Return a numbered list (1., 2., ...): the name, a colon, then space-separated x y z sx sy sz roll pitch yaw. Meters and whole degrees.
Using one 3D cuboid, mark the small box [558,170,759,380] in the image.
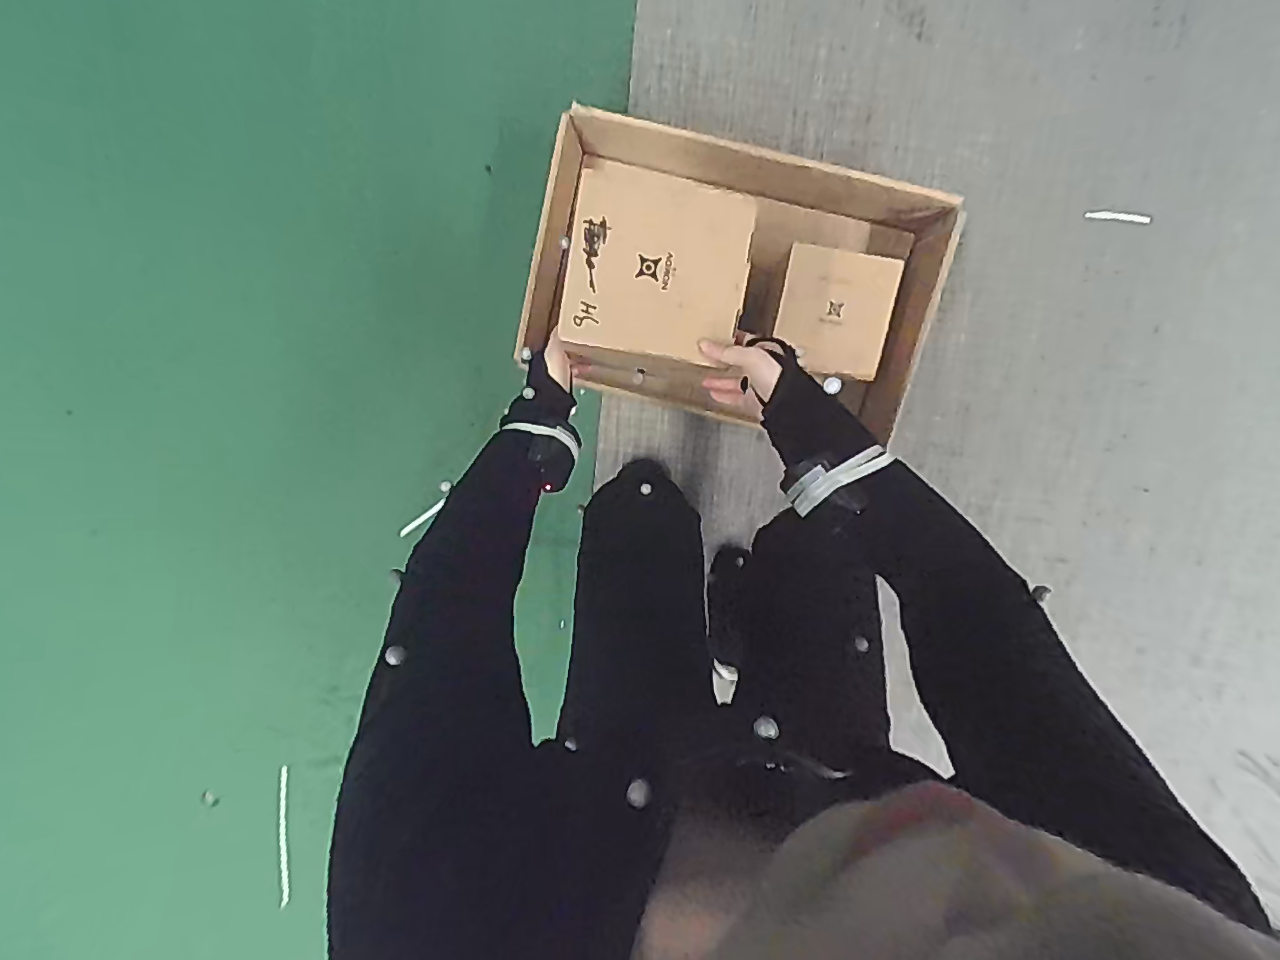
1. small box: 0.015 -0.212 0.612 0.179 0.176 0.168 10 94 -3
